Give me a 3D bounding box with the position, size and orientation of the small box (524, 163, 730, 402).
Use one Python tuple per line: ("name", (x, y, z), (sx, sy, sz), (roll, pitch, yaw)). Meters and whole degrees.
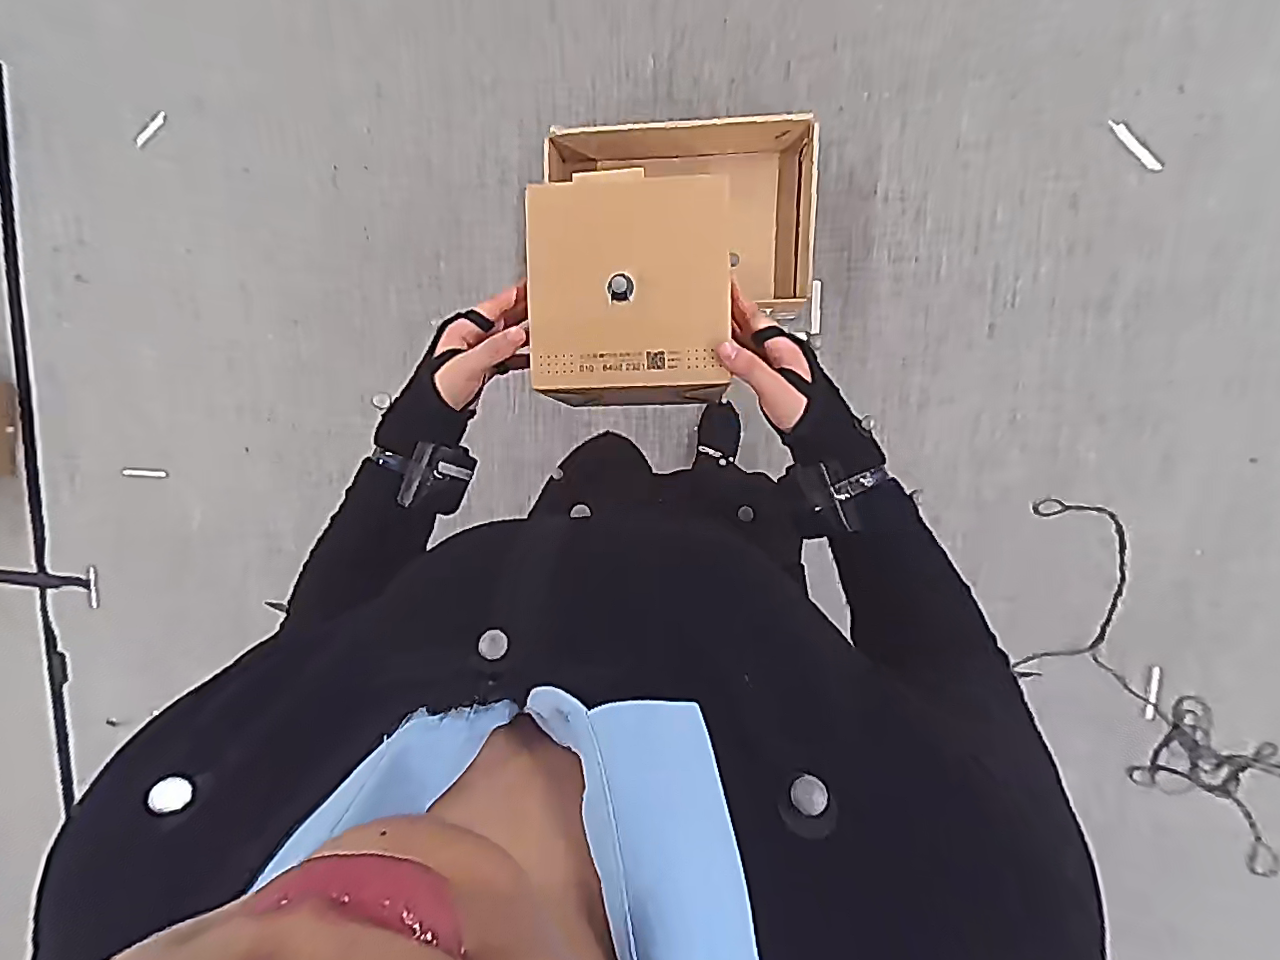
("small box", (-0.003, -0.168, 0.514), (0.168, 0.179, 0.176), (0, 94, 4))
